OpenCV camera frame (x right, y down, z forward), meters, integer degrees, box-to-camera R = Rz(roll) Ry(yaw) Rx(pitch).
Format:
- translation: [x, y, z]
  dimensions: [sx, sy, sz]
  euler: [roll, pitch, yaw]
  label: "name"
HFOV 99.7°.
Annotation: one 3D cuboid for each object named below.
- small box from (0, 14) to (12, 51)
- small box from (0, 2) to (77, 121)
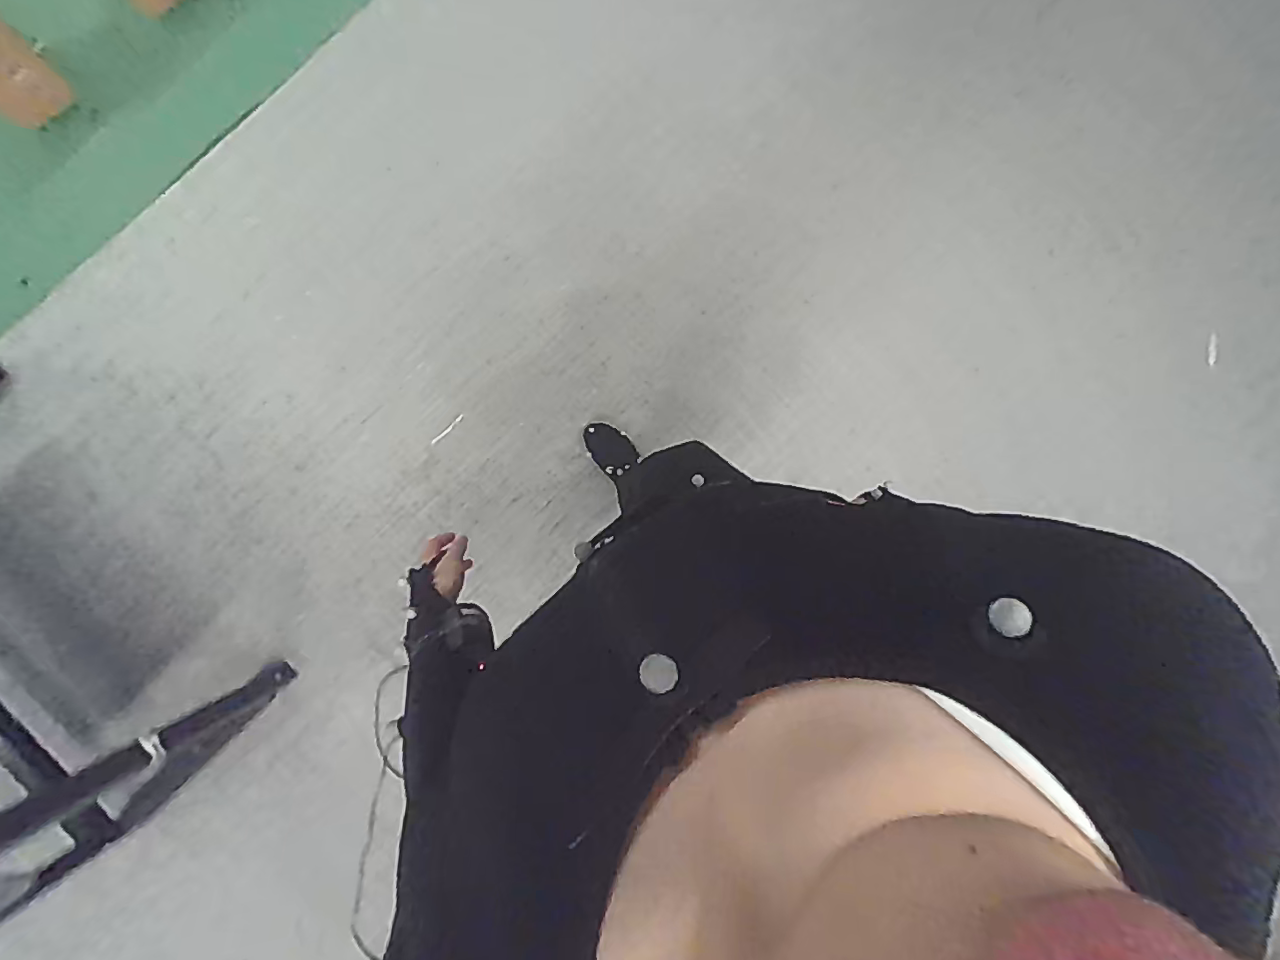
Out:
- translation: [-1.592, -1.064, 1.207]
  dimensions: [0.179, 0.176, 0.168]
  euler: [-45, 90, 0]
  label: "small box"
- translation: [-1.601, -1.072, 1.369]
  dimensions: [0.179, 0.176, 0.168]
  euler: [-37, 90, -1]
  label: "small box"
